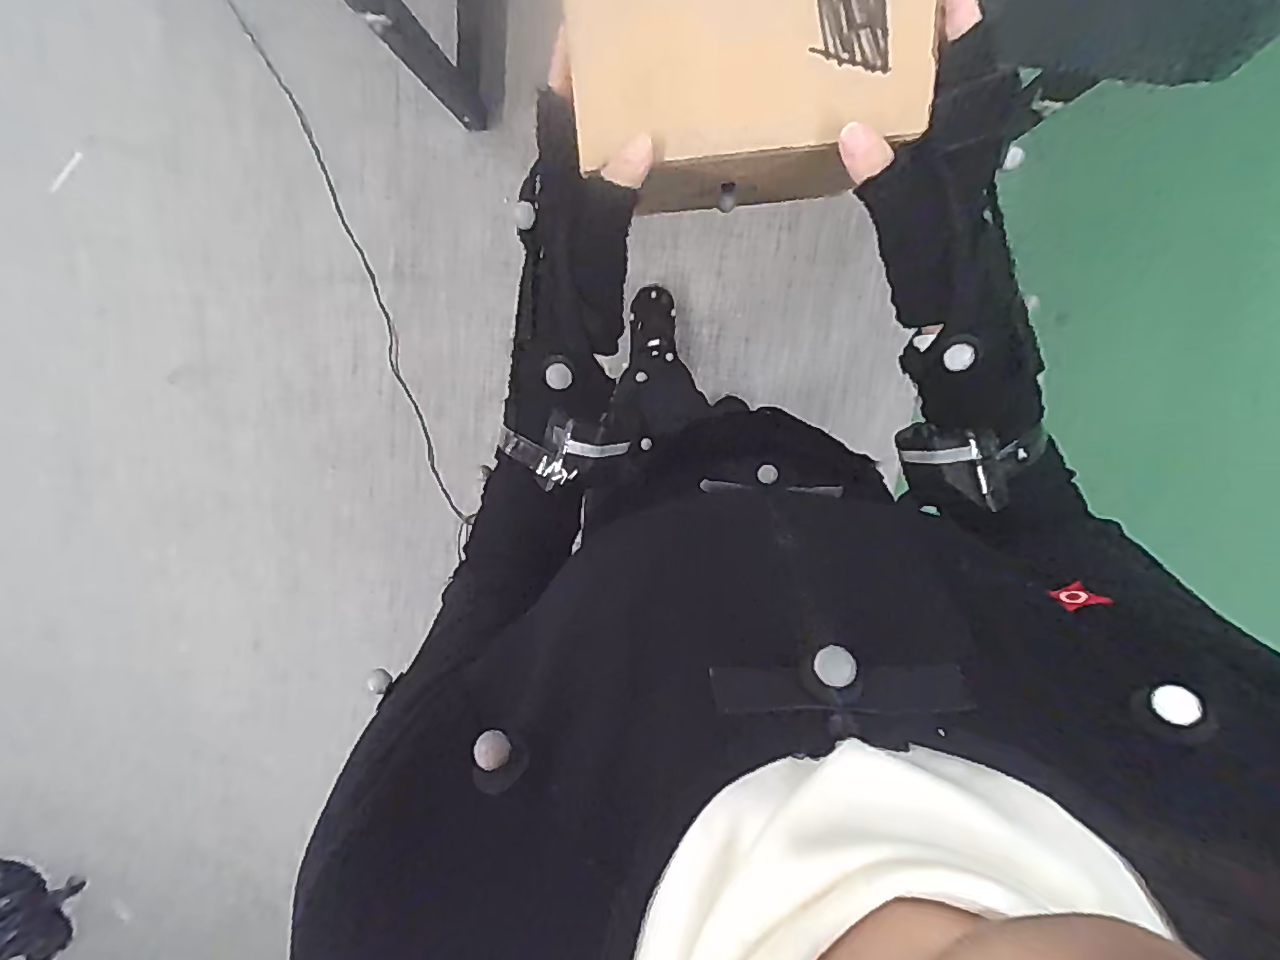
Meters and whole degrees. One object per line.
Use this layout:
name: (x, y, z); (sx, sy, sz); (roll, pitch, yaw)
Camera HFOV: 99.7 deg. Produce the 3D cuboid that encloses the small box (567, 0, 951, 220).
small box: (0.055, -0.263, 0.319); (0.179, 0.176, 0.168); (-6, 108, 6)
